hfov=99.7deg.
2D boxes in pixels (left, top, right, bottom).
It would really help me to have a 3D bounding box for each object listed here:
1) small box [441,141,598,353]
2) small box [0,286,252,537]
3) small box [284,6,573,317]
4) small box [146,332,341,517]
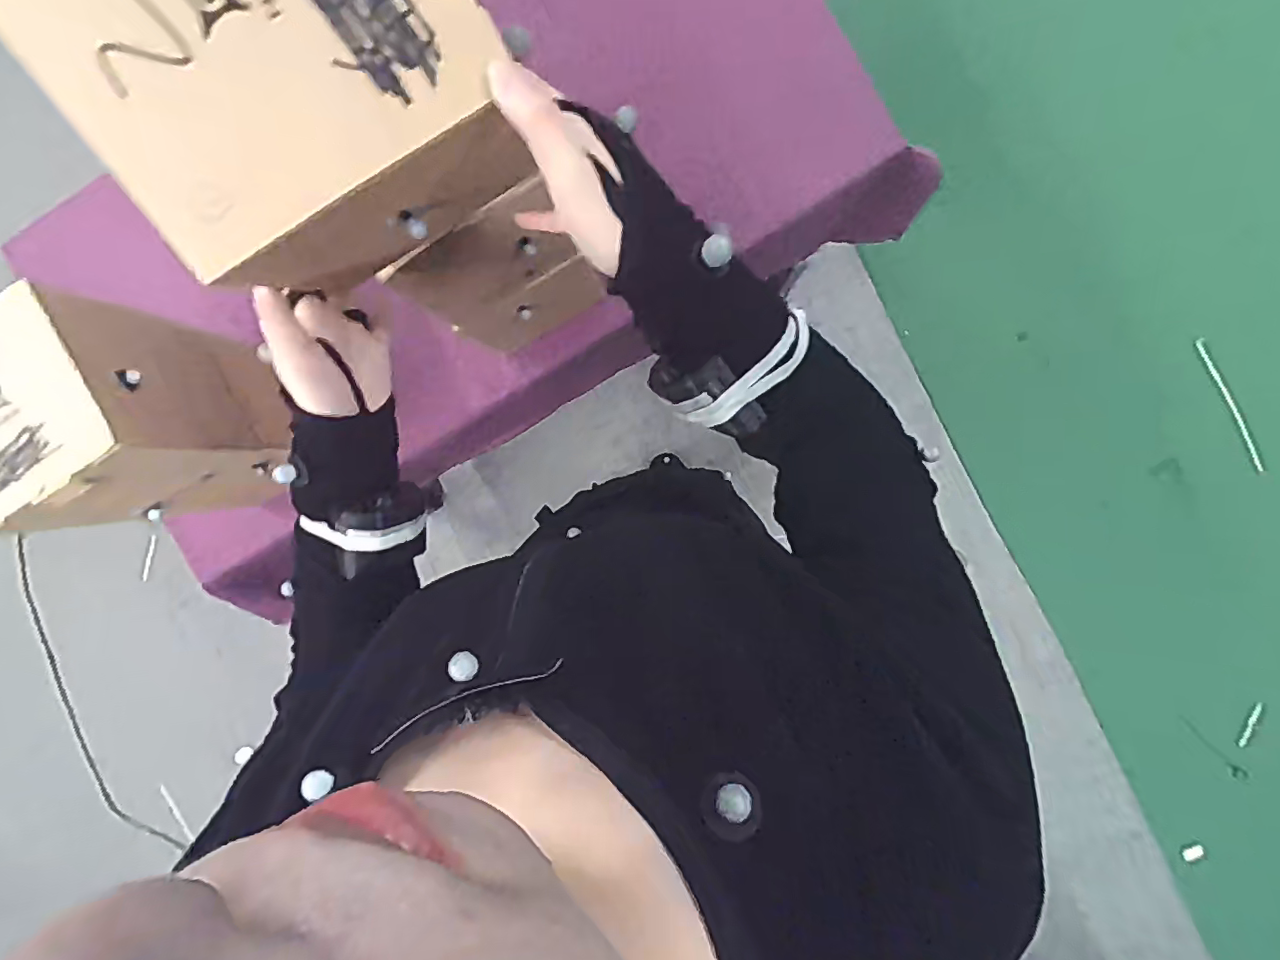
[{"bbox_3d":[-0.172,-0.283,0.694,0.179,0.176,0.168,-29,91,4],"label":"small box"},{"bbox_3d":[-0.564,-0.063,0.565,0.168,0.176,0.179,-31,89,3],"label":"small box"},{"bbox_3d":[-0.185,-0.281,0.531,0.168,0.176,0.179,-31,90,4],"label":"small box"},{"bbox_3d":[-0.555,-0.067,0.728,0.179,0.176,0.168,-31,90,3],"label":"small box"}]
